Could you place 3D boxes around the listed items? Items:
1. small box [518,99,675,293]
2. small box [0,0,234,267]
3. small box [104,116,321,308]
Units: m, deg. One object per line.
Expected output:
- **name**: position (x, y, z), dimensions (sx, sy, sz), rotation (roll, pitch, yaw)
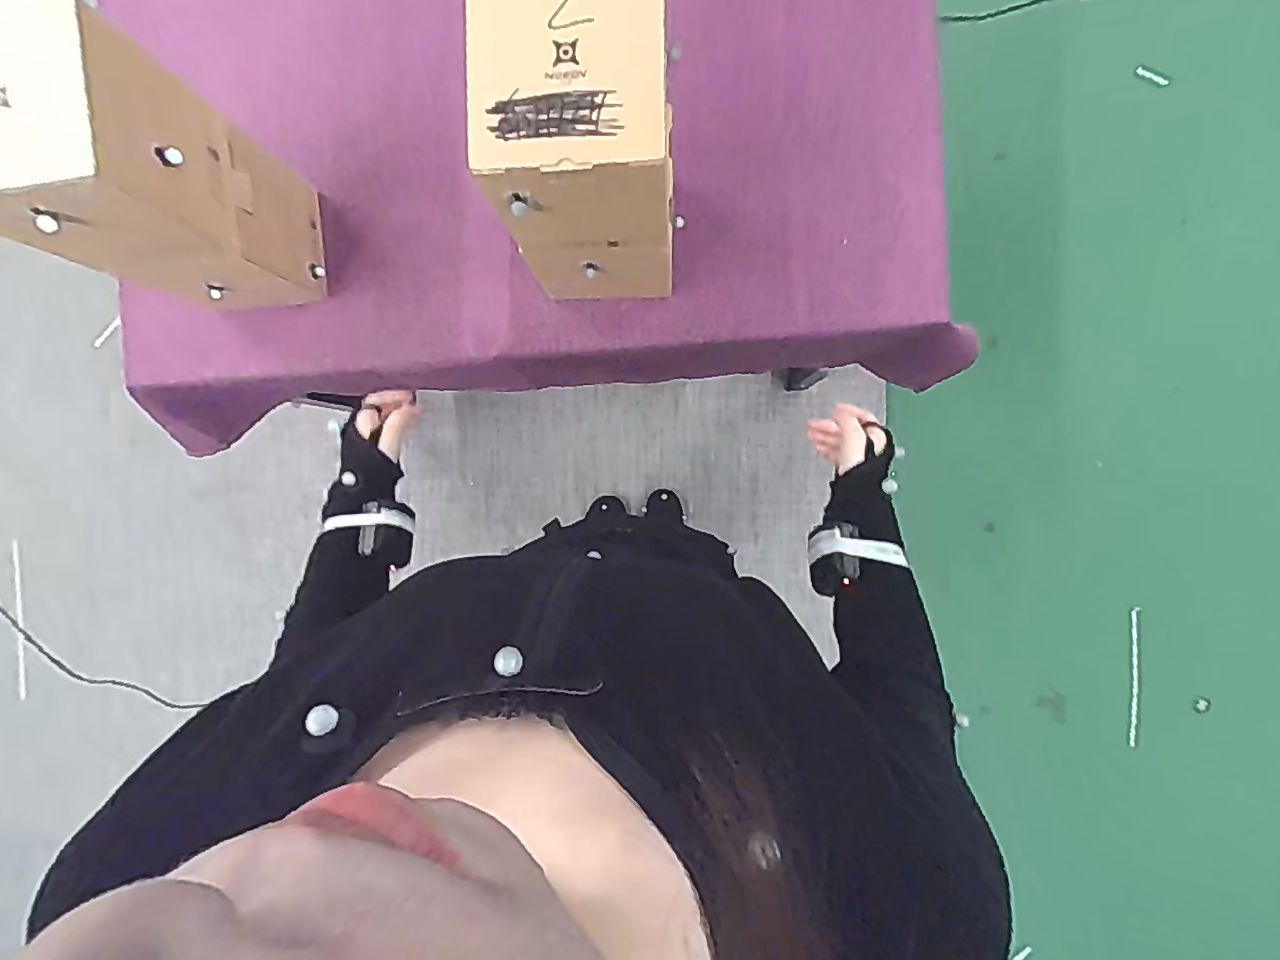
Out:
- **small box**: position (-0.045, -0.344, 0.686), dimensions (0.179, 0.176, 0.168), rotation (1, 92, 3)
- **small box**: position (-0.556, -0.336, 0.551), dimensions (0.179, 0.176, 0.168), rotation (-7, 91, 4)
- **small box**: position (-0.551, -0.338, 0.713), dimensions (0.179, 0.176, 0.168), rotation (-6, 91, 4)
